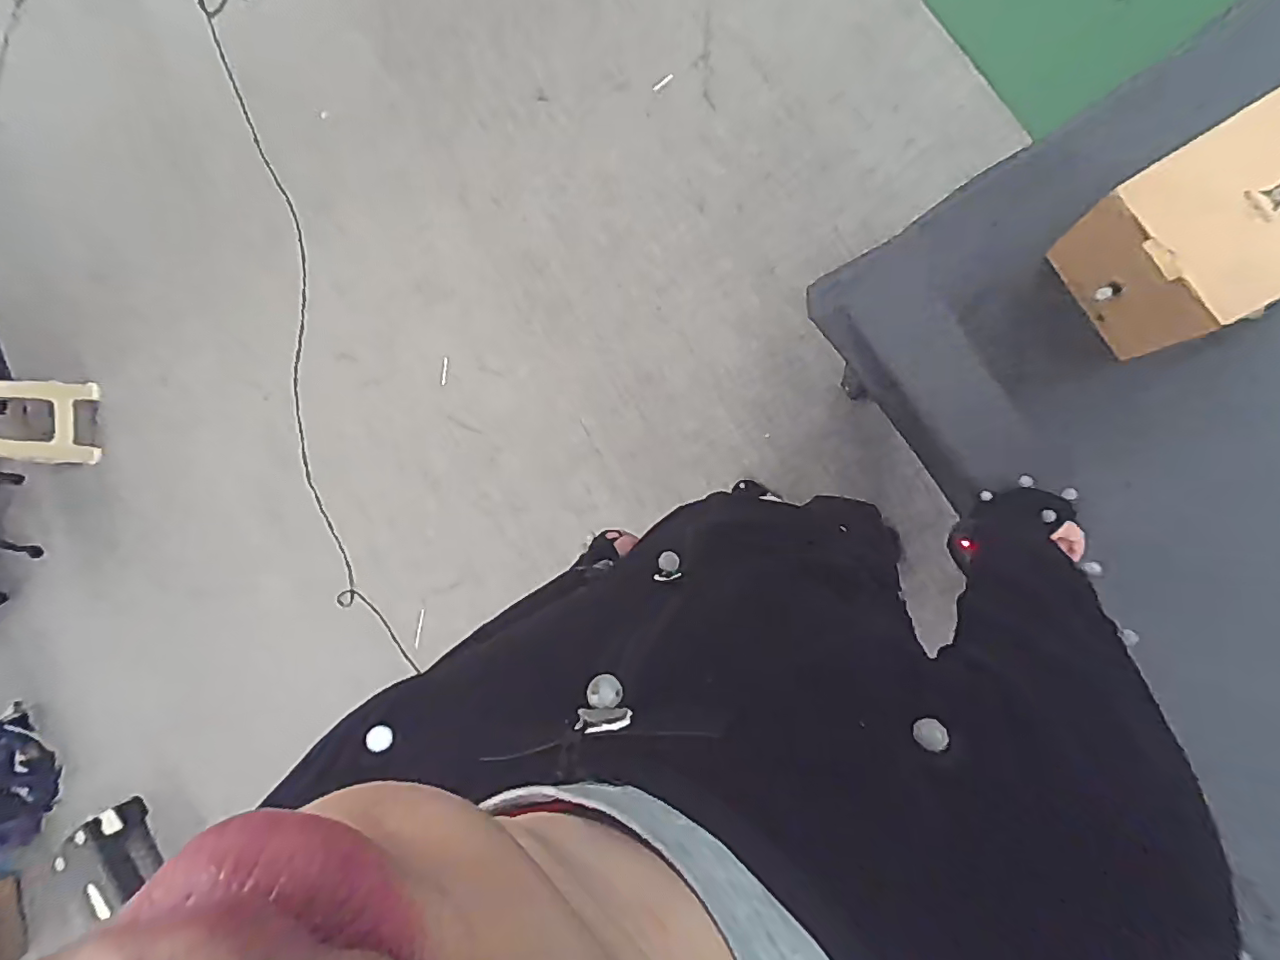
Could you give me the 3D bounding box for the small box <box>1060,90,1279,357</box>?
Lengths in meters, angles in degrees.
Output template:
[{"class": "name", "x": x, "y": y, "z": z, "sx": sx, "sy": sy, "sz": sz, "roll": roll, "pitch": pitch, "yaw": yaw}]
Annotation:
[{"class": "small box", "x": 0.589, "y": -0.251, "z": 0.567, "sx": 0.179, "sy": 0.176, "sz": 0.168, "roll": -31, "pitch": 82, "yaw": 17}]
